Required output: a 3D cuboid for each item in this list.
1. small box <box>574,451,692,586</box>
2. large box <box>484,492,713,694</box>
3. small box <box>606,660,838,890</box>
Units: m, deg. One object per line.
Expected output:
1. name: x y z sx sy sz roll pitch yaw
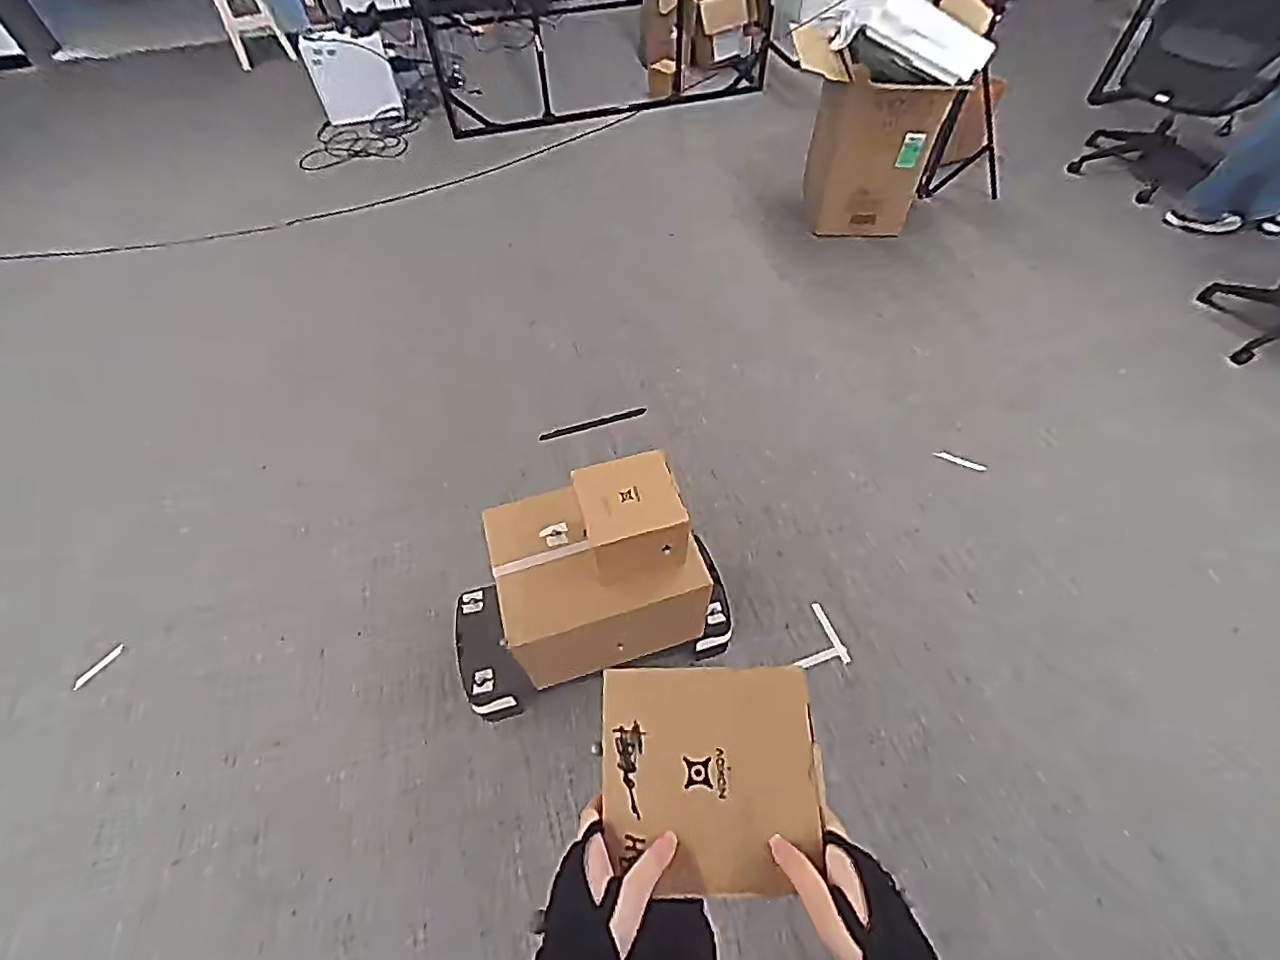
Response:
1. small box: -0.015 0.075 1.010 0.179 0.176 0.168 -15 56 -8
2. large box: -0.086 0.228 1.205 0.408 0.320 0.320 -17 55 -9
3. small box: 0.065 0.261 0.507 0.179 0.176 0.168 -2 66 3
